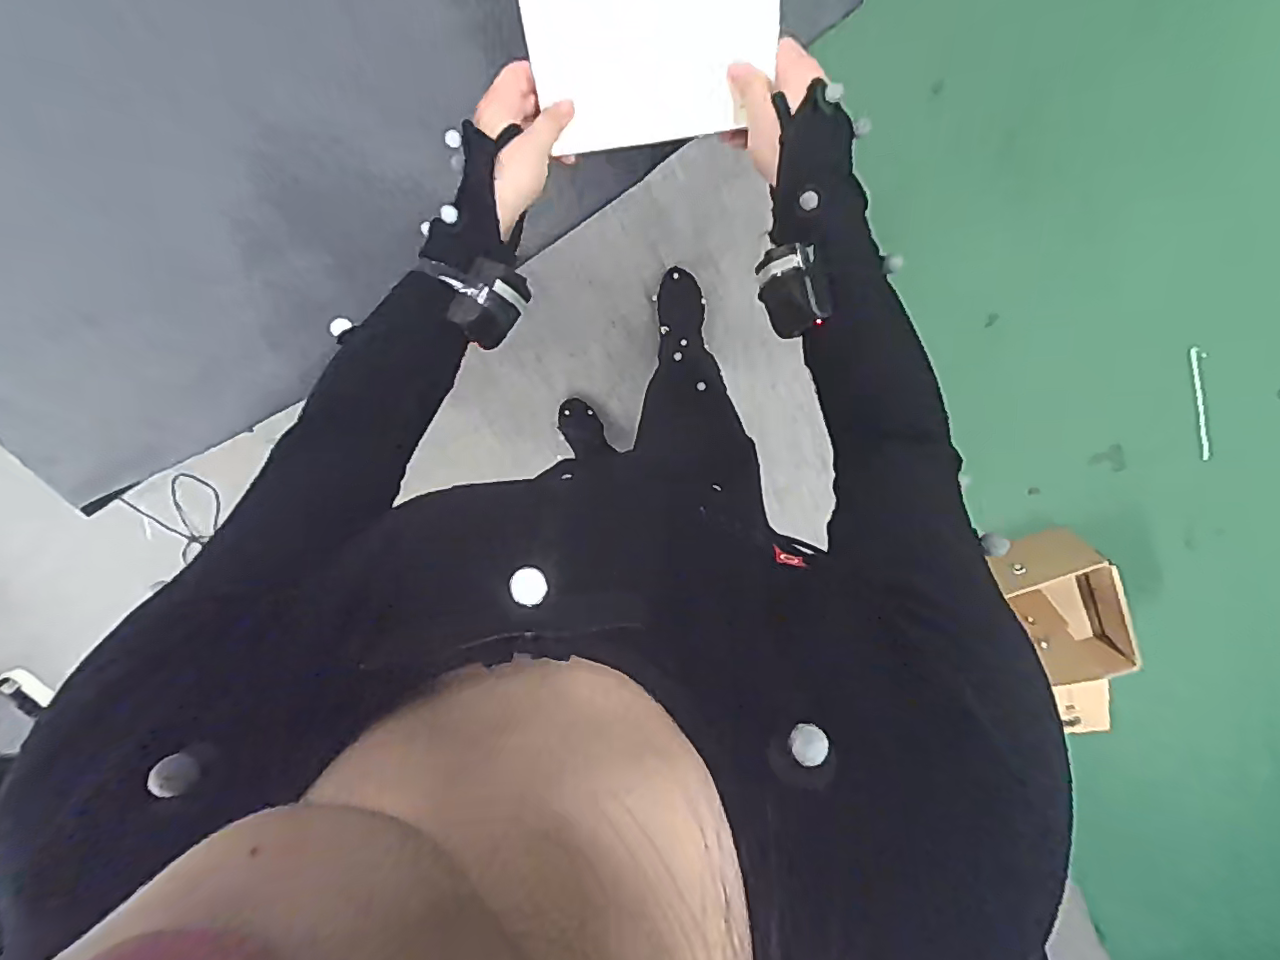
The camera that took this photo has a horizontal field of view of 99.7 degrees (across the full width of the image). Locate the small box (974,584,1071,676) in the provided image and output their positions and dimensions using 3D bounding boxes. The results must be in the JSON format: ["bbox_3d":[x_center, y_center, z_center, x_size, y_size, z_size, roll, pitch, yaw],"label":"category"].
[{"bbox_3d":[1.052,0.414,1.504,0.179,0.176,0.168,-13,116,14],"label":"small box"}]

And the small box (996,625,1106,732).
[{"bbox_3d":[1.031,0.498,1.364,0.168,0.176,0.179,-16,114,14],"label":"small box"}]
